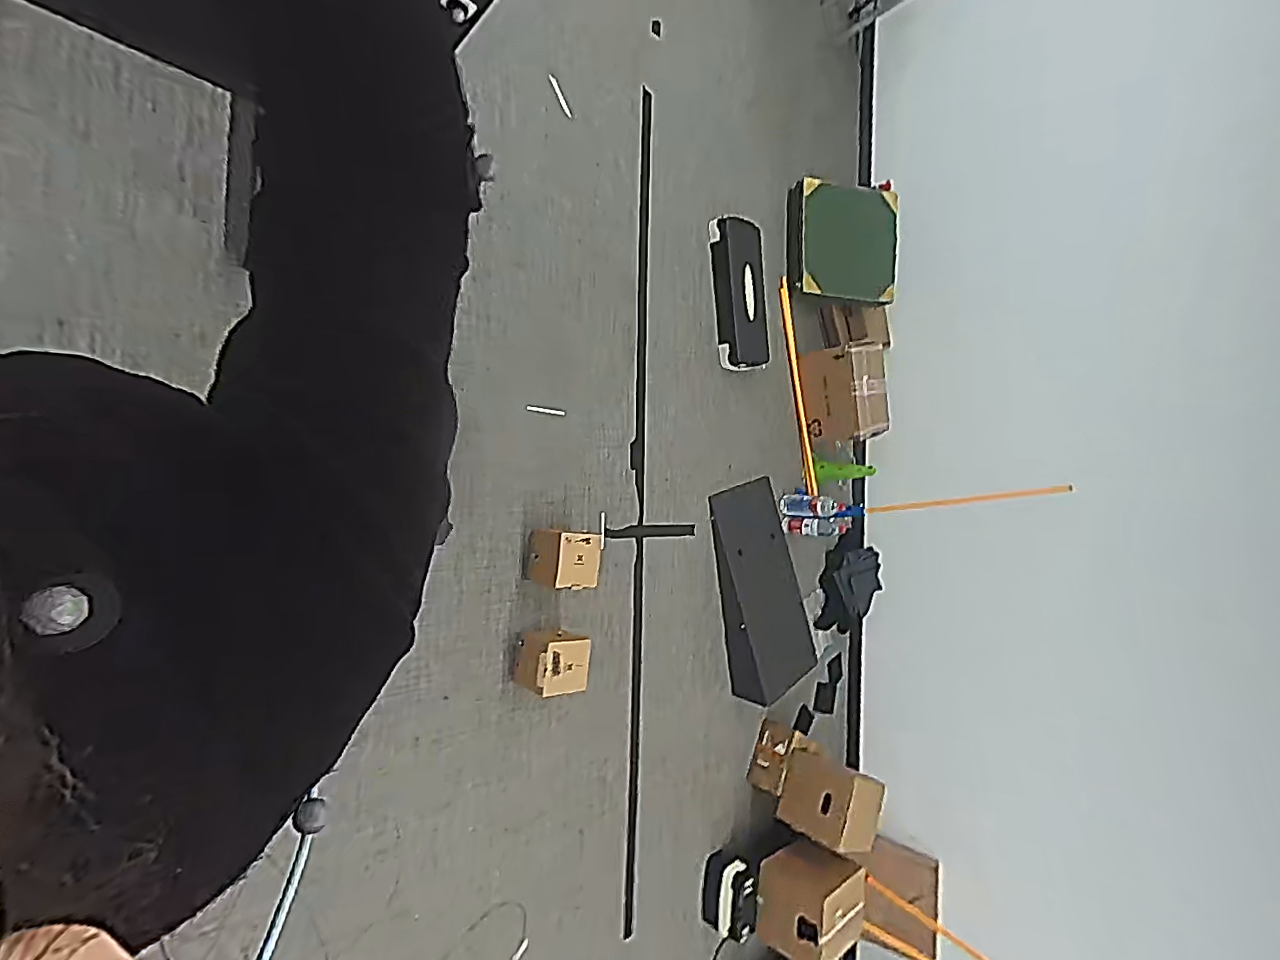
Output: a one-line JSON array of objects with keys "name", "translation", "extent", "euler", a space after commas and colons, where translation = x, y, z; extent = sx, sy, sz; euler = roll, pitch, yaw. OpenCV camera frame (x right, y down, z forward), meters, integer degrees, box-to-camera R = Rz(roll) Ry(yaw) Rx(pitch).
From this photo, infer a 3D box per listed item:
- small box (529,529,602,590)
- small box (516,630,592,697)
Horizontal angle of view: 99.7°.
[{"name": "small box", "translation": [-0.249, 0.259, 1.777], "extent": [0.168, 0.176, 0.179], "euler": [10, 84, -44]}, {"name": "small box", "translation": [-0.281, 0.589, 1.752], "extent": [0.179, 0.176, 0.168], "euler": [11, 83, -45]}]
